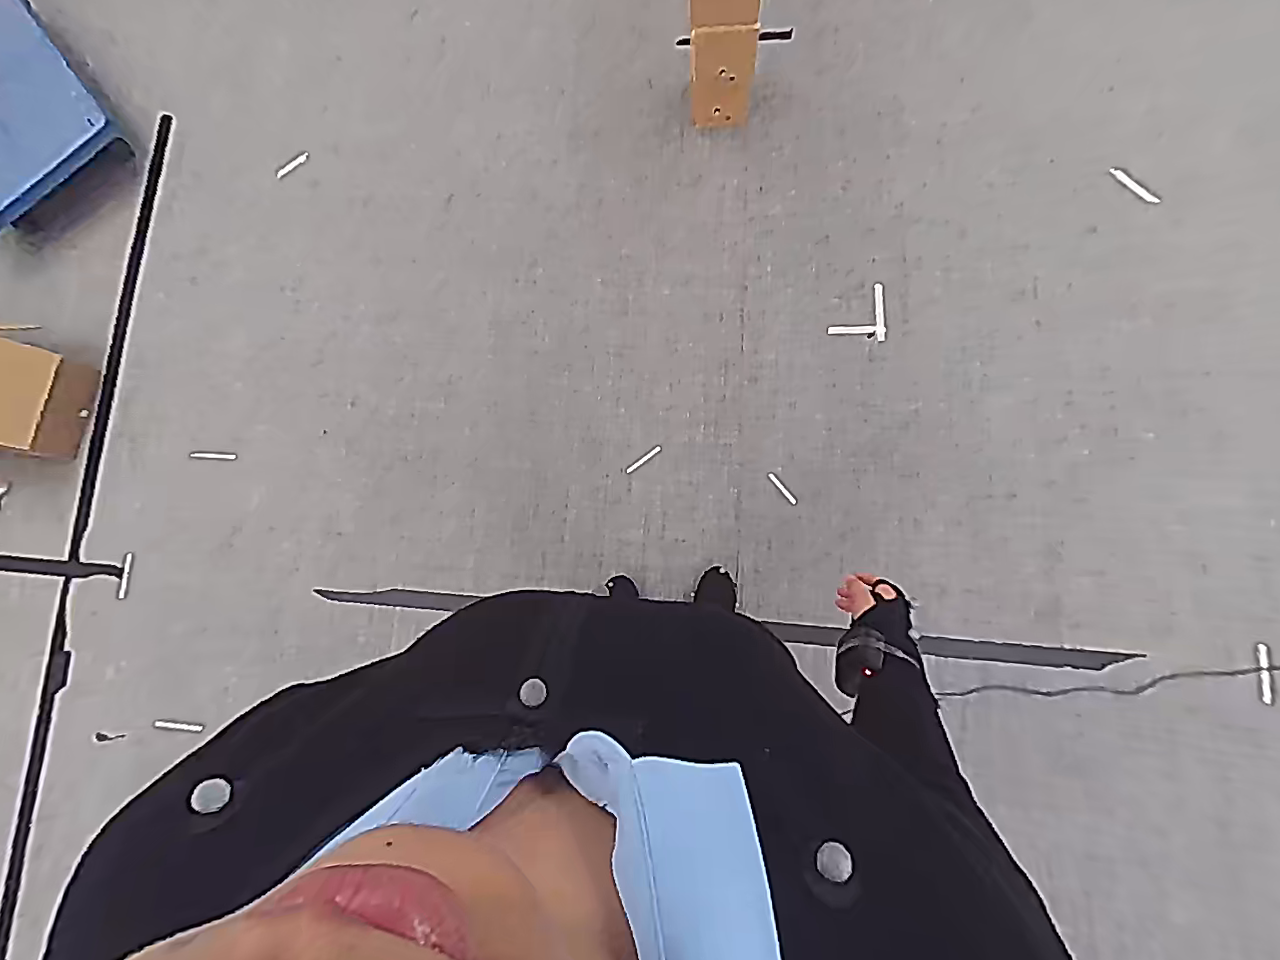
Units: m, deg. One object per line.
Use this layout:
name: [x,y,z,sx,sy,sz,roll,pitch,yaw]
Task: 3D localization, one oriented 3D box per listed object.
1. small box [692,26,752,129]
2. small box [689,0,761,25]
small box: [0.242,-1.203,1.625,0.168,0.176,0.179,-3,81,6]
small box: [0.208,-1.241,1.299,0.179,0.176,0.168,2,83,6]
